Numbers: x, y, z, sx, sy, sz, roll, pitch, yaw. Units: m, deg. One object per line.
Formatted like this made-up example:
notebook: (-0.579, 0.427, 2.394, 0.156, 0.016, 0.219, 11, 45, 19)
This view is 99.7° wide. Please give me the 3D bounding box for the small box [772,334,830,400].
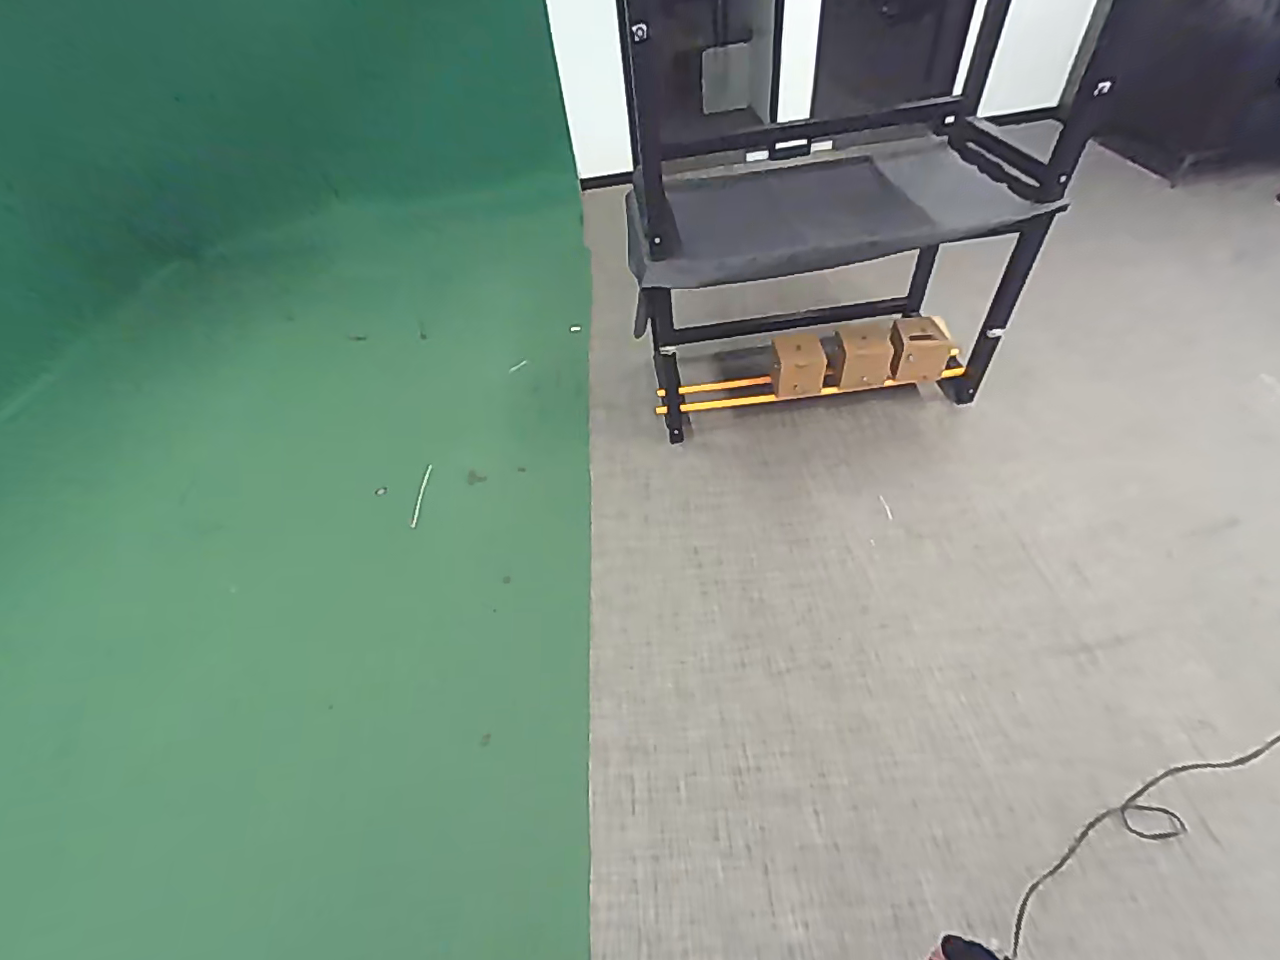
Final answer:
small box: (0.601, -0.427, 2.047, 0.168, 0.176, 0.179, -6, 50, 3)
